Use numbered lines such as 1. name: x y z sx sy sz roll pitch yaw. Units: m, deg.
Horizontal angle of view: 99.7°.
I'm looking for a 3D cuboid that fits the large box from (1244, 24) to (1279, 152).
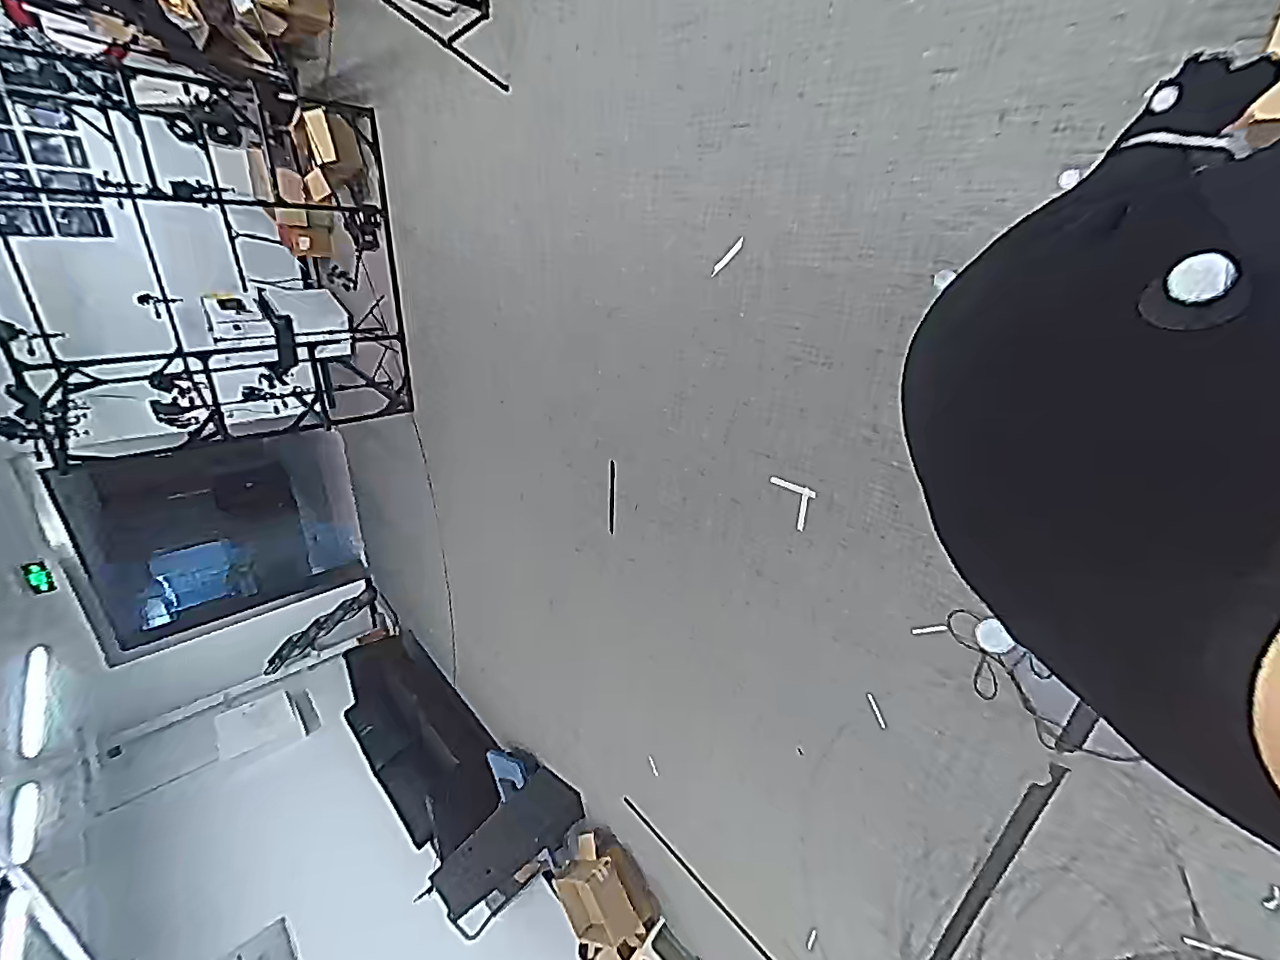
1. large box: 1.087 -0.616 0.662 0.408 0.320 0.320 25 123 41
